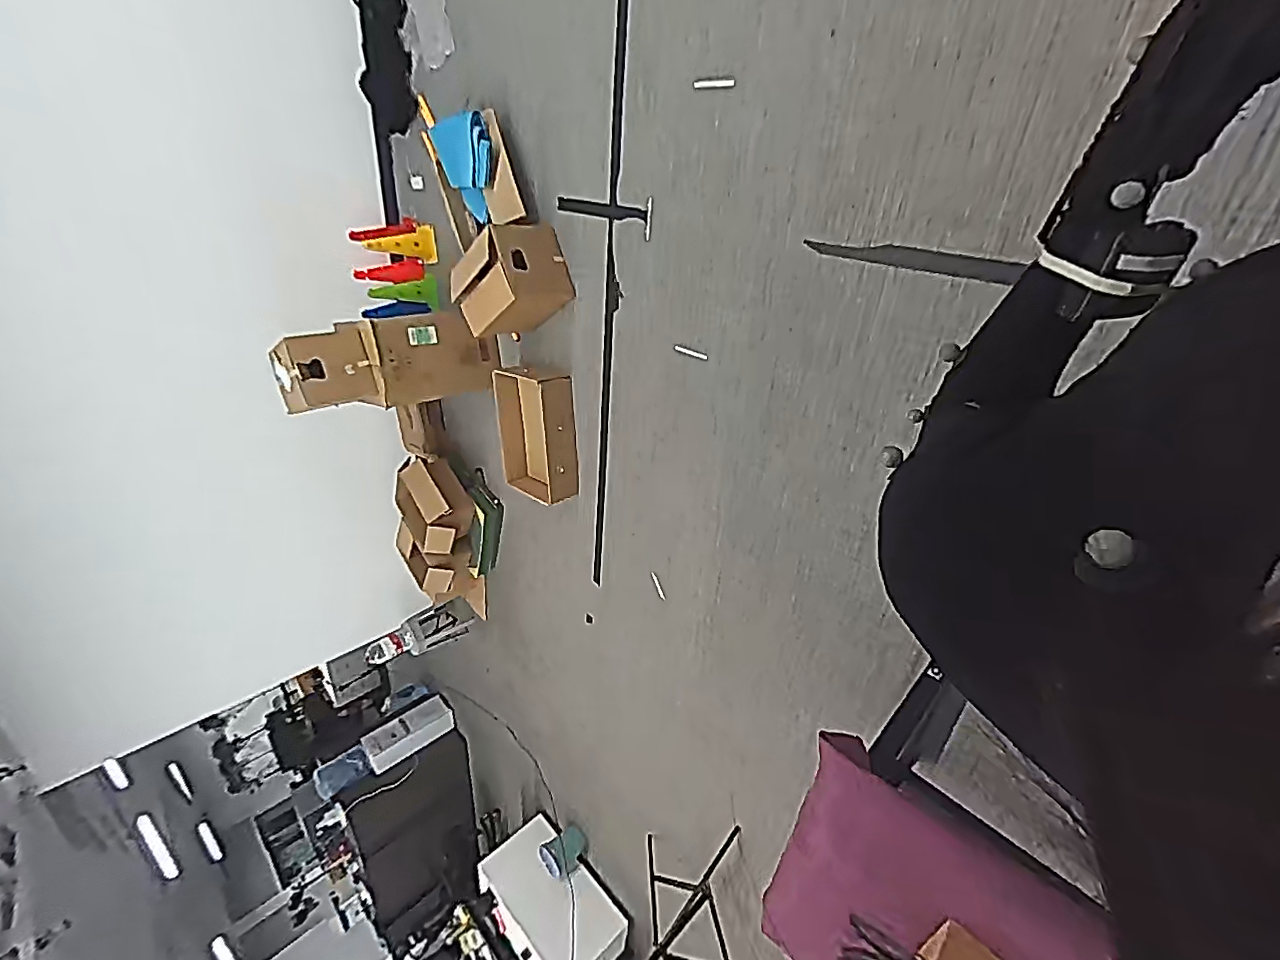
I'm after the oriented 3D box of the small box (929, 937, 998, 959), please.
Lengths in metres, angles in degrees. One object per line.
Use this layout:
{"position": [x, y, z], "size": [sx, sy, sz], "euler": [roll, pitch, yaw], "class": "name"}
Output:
{"position": [0.553, 0.906, 0.884], "size": [0.179, 0.176, 0.168], "euler": [31, 129, 34], "class": "small box"}
